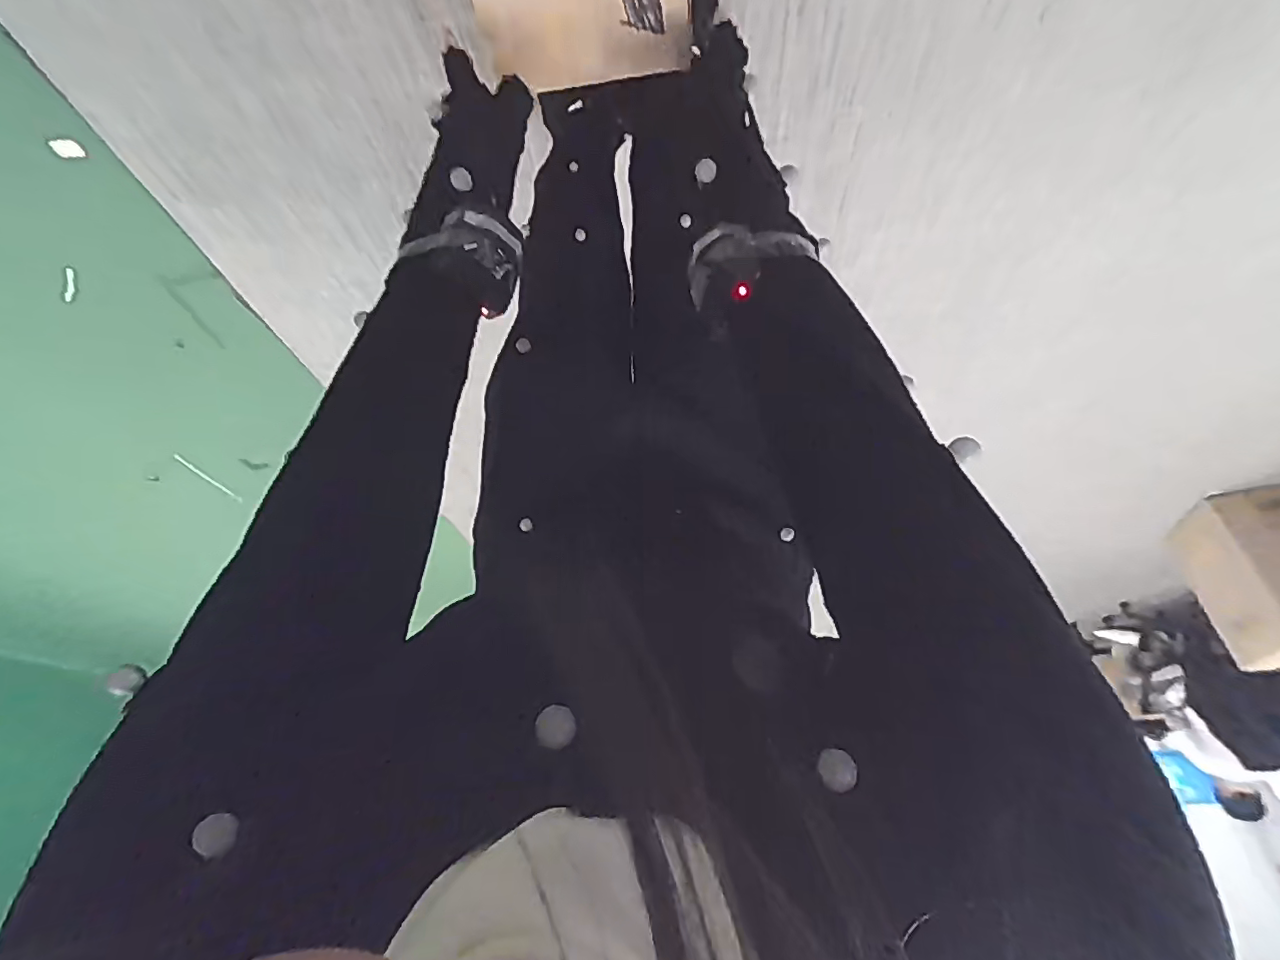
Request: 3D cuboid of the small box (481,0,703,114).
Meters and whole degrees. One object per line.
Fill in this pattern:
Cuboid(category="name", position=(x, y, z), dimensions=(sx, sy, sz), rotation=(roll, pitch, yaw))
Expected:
Cuboid(category="small box", position=(-0.047, -0.461, 0.467), dimensions=(0.179, 0.176, 0.168), rotation=(-8, 148, 7))
